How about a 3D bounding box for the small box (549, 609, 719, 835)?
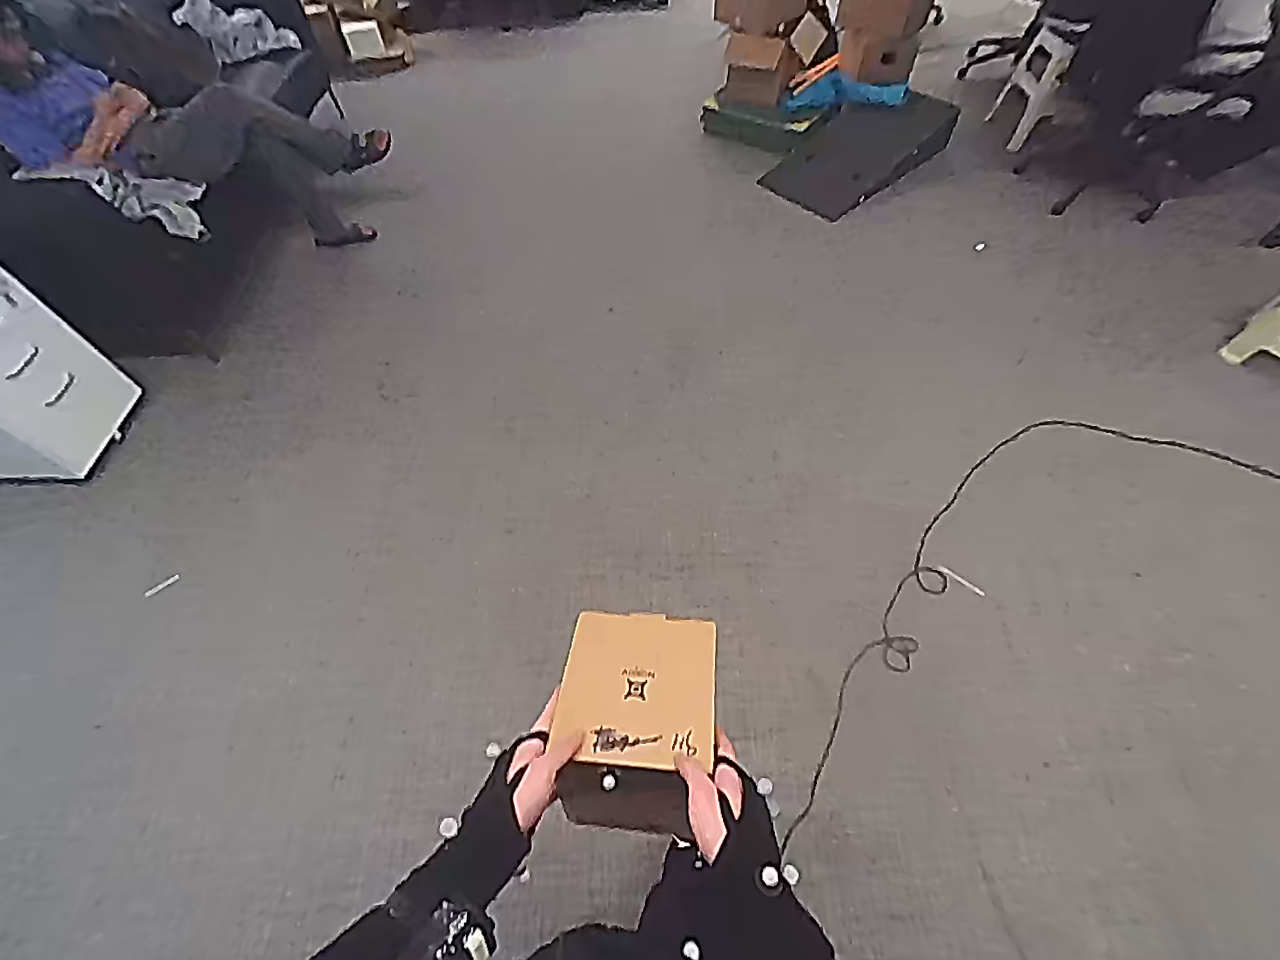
[{"bbox_3d":[0.005,0.278,0.634,0.168,0.176,0.179,2,38,8],"label":"small box"}]
